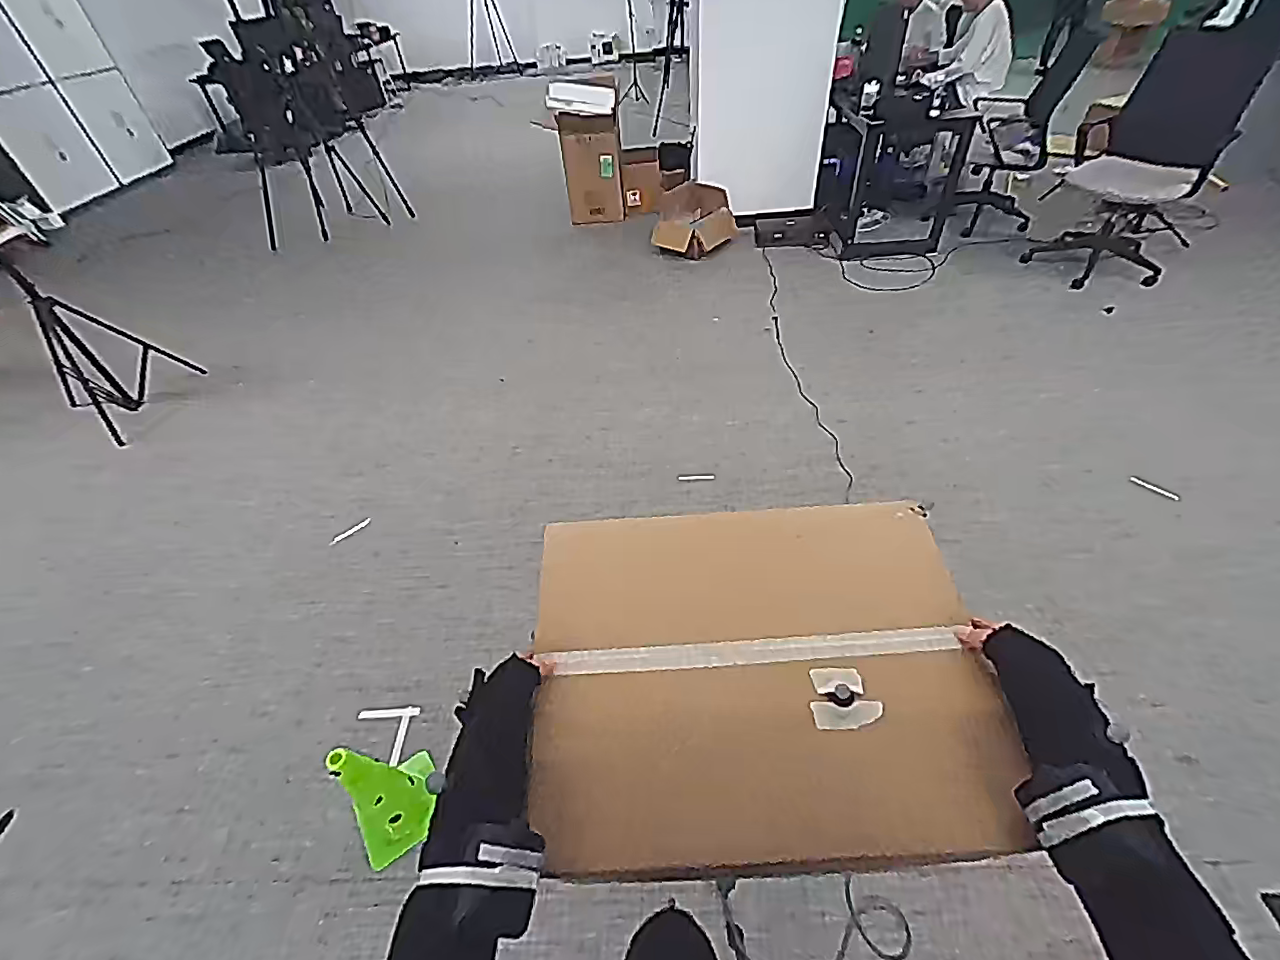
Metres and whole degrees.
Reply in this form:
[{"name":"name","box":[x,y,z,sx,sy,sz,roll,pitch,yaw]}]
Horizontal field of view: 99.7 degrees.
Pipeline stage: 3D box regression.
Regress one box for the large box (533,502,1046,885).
[{"name":"large box","box":[0.112,0.251,0.618,0.408,0.320,0.320,-4,52,1]}]

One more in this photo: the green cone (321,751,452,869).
[{"name":"green cone","box":[-0.607,0.695,1.229,0.202,0.368,0.200,-32,49,-22]}]
